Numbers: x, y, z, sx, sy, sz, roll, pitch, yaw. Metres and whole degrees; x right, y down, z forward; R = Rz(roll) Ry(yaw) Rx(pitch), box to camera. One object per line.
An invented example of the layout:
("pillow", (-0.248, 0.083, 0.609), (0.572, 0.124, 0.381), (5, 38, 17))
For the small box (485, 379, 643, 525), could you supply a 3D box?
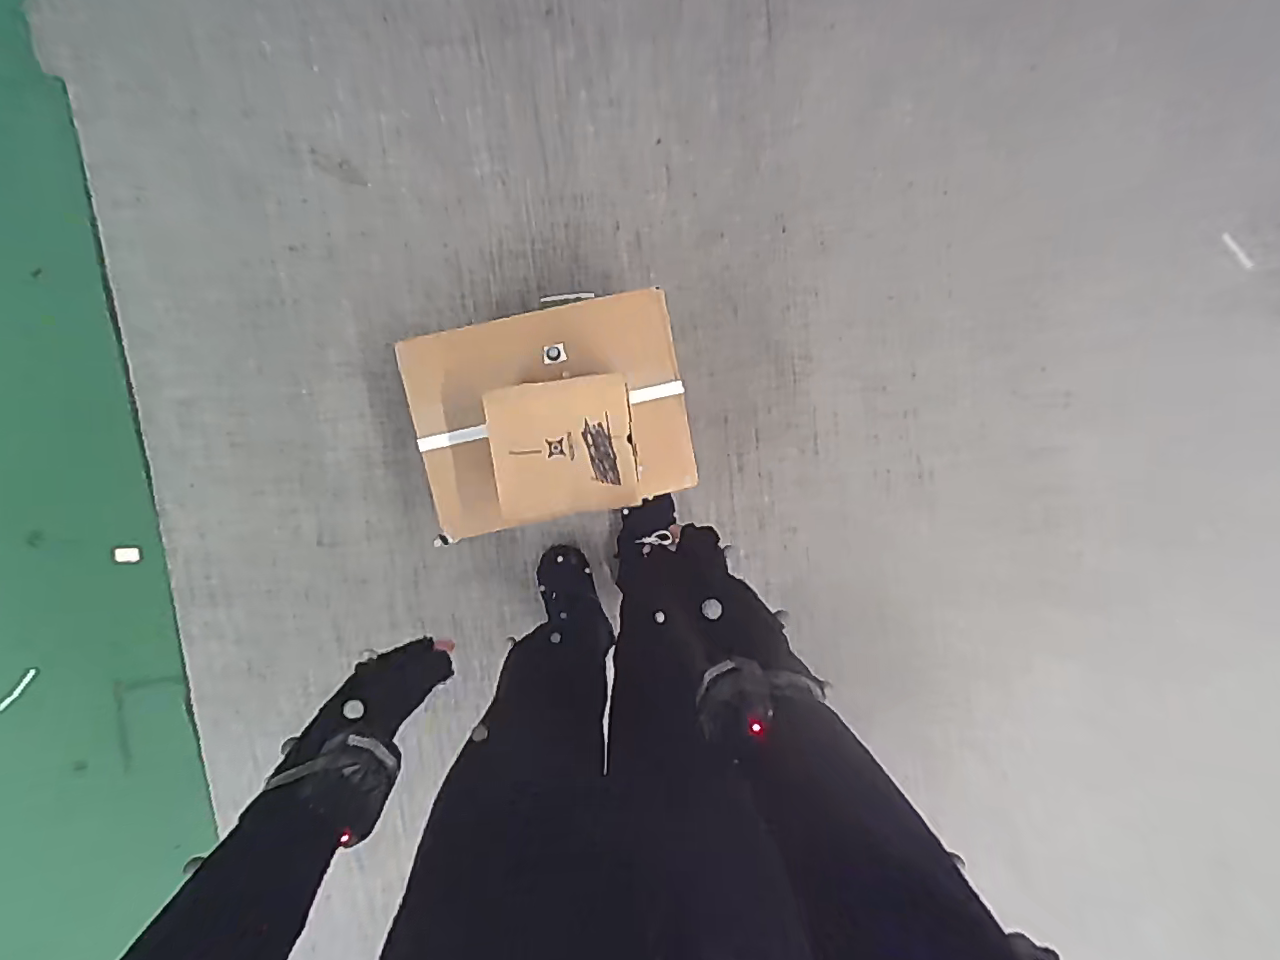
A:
("small box", (-0.094, -0.044, 0.735), (0.179, 0.176, 0.168), (-7, 97, -1))
